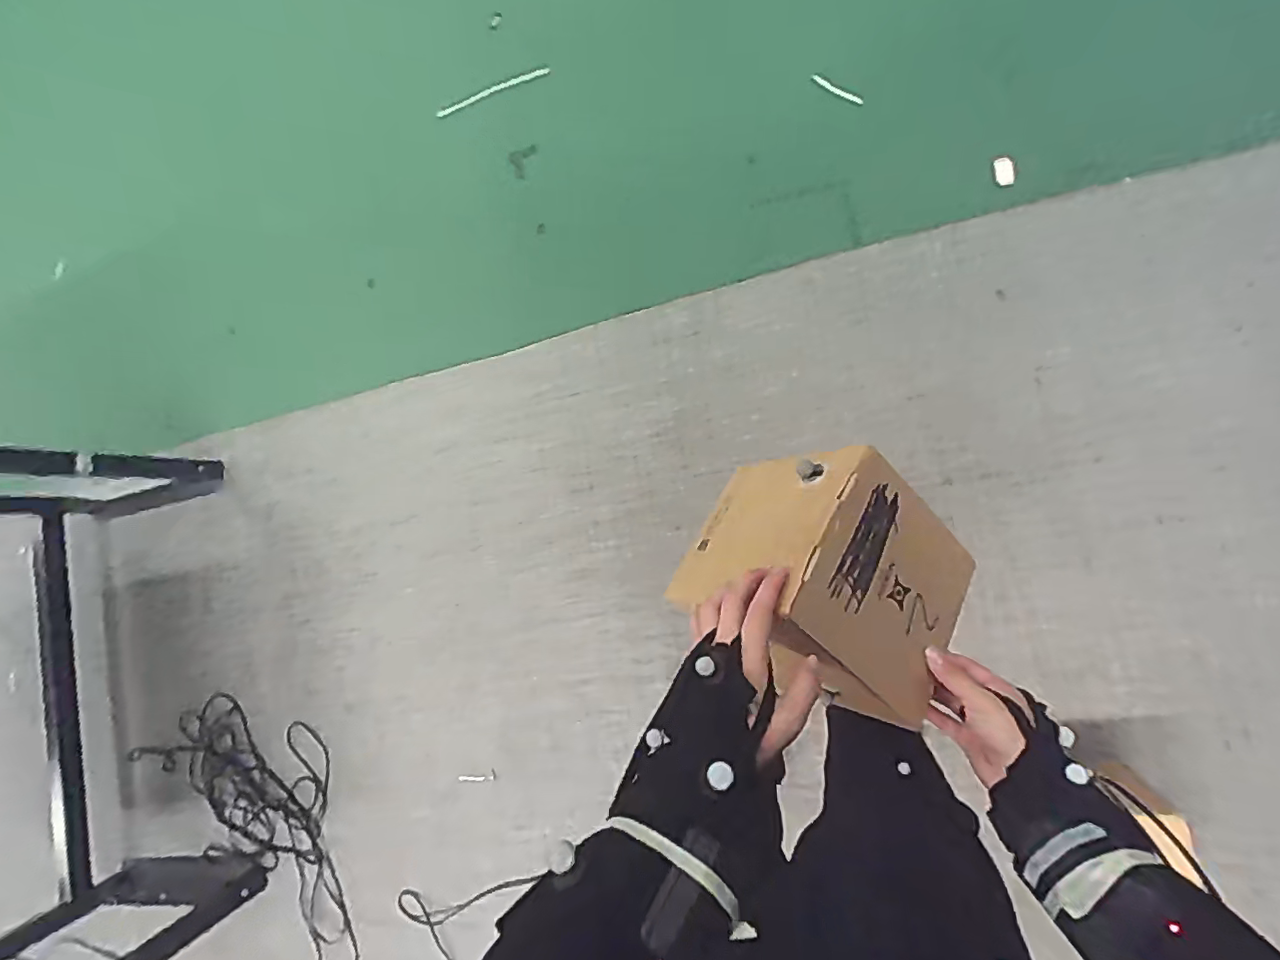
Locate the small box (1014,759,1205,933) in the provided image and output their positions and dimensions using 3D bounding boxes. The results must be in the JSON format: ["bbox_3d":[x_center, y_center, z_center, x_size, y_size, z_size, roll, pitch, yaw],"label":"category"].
[{"bbox_3d":[0.751,0.586,0.886,0.168,0.176,0.179,-11,84,15],"label":"small box"}]
